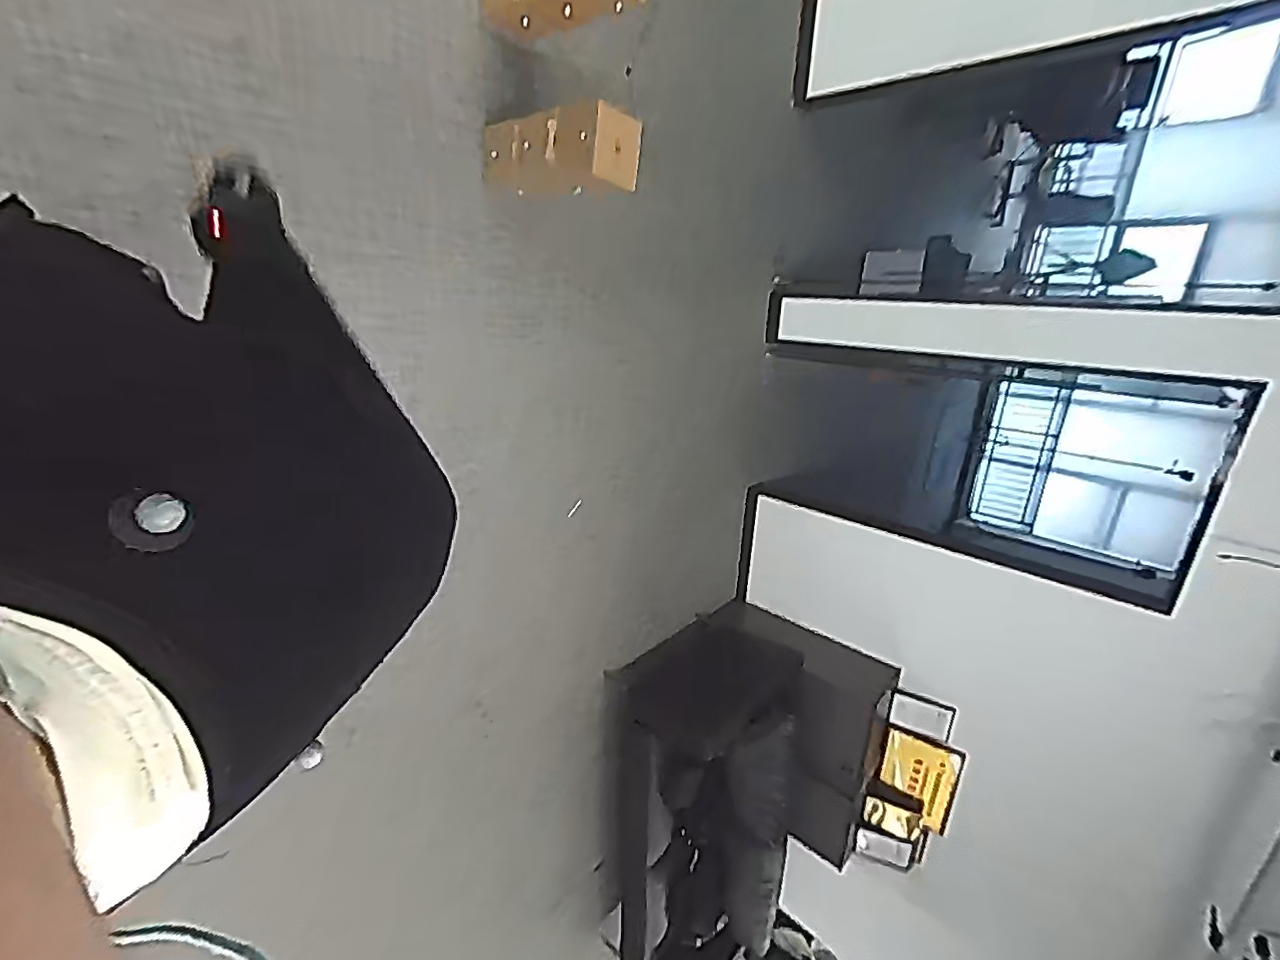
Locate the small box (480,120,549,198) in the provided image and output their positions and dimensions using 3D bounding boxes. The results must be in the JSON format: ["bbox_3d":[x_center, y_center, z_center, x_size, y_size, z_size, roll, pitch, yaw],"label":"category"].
[{"bbox_3d":[-0.384,-0.992,1.689,0.179,0.176,0.168,-13,114,-47],"label":"small box"}]

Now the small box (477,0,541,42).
[{"bbox_3d":[-0.352,-1.409,1.561,0.179,0.176,0.168,-10,113,-49],"label":"small box"}]

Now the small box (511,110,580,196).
[{"bbox_3d":[-0.254,-0.954,1.595,0.179,0.176,0.168,-7,109,-49],"label":"small box"}]

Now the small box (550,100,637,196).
[{"bbox_3d":[-0.133,-0.907,1.496,0.168,0.176,0.179,-8,110,-48],"label":"small box"}]

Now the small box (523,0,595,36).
[{"bbox_3d":[-0.224,-1.377,1.479,0.168,0.176,0.179,39,73,-48],"label":"small box"}]
